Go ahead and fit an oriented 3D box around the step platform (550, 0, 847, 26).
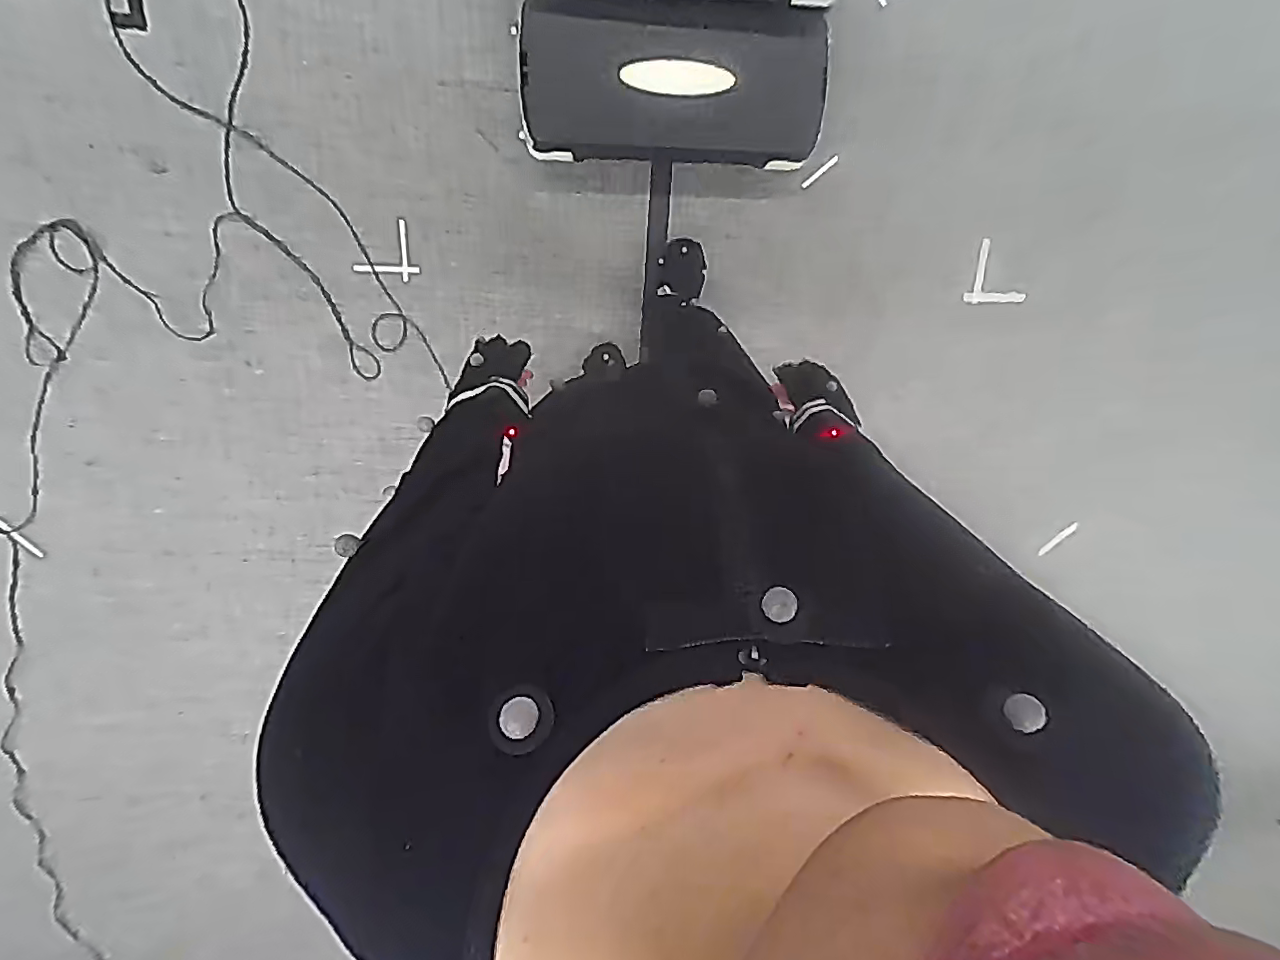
[{"bbox_3d":[0.122,-1.139,1.074,0.684,0.204,0.286,-1,107,-6],"label":"step platform"}]
